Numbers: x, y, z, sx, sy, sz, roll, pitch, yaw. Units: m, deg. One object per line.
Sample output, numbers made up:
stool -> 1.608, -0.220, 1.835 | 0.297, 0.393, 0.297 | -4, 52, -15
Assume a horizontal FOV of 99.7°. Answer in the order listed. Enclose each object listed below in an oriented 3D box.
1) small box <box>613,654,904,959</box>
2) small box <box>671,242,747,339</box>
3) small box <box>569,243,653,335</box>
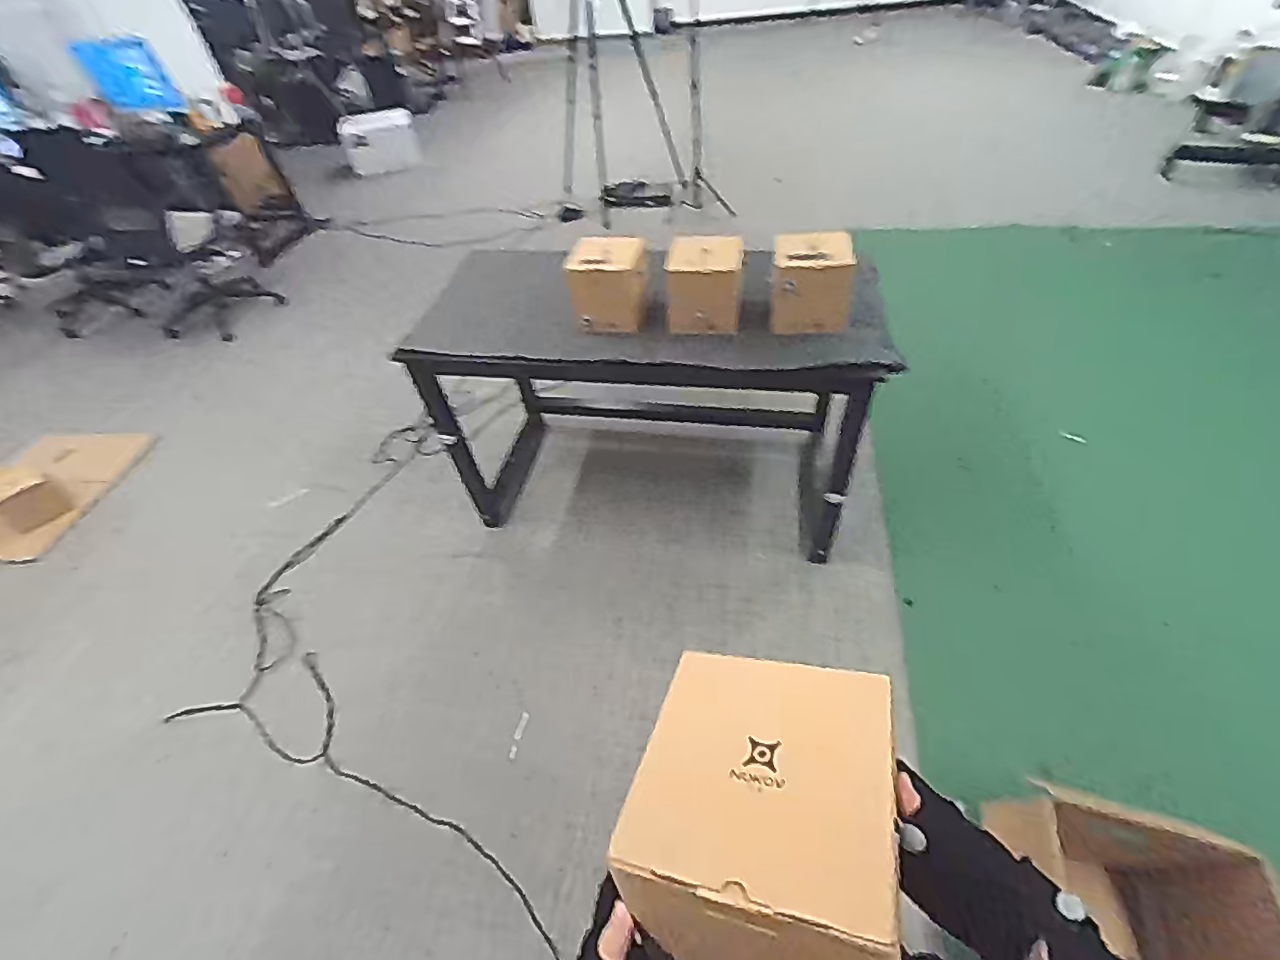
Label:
small box -> 0.101, 0.261, 0.403 | 0.168, 0.176, 0.179 | -3, 29, 23
small box -> 0.171, -0.467, 1.331 | 0.168, 0.176, 0.179 | 4, 47, 12
small box -> -0.066, -0.485, 1.379 | 0.168, 0.176, 0.179 | 6, 47, 12
